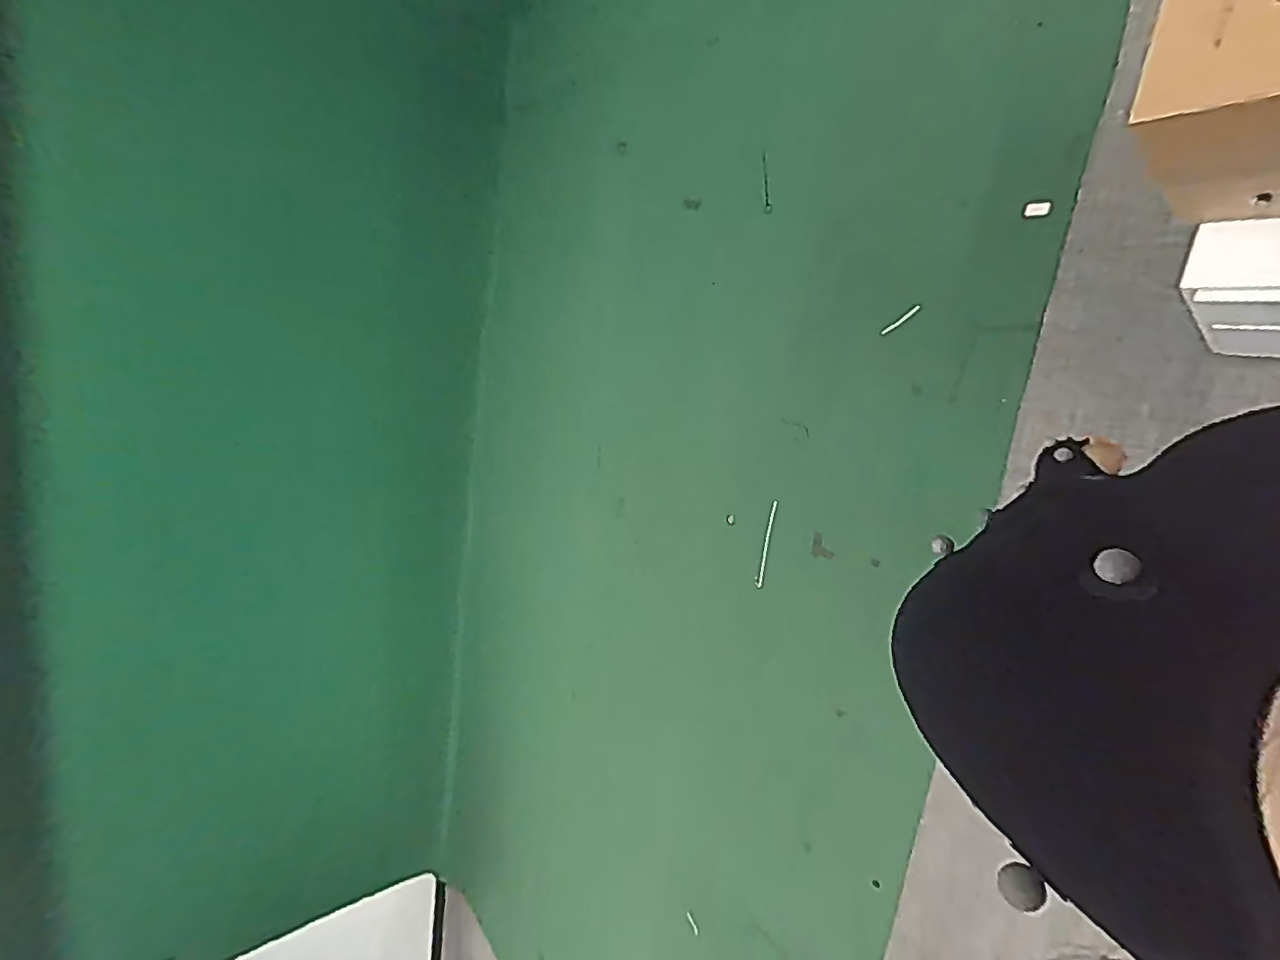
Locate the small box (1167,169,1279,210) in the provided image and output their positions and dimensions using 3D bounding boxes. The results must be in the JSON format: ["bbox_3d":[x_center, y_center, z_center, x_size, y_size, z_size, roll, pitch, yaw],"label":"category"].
[{"bbox_3d":[0.680,-0.392,0.551,0.168,0.176,0.179,21,106,46],"label":"small box"}]

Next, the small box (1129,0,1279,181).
[{"bbox_3d":[0.555,-0.374,0.447,0.179,0.176,0.168,20,105,47],"label":"small box"}]
